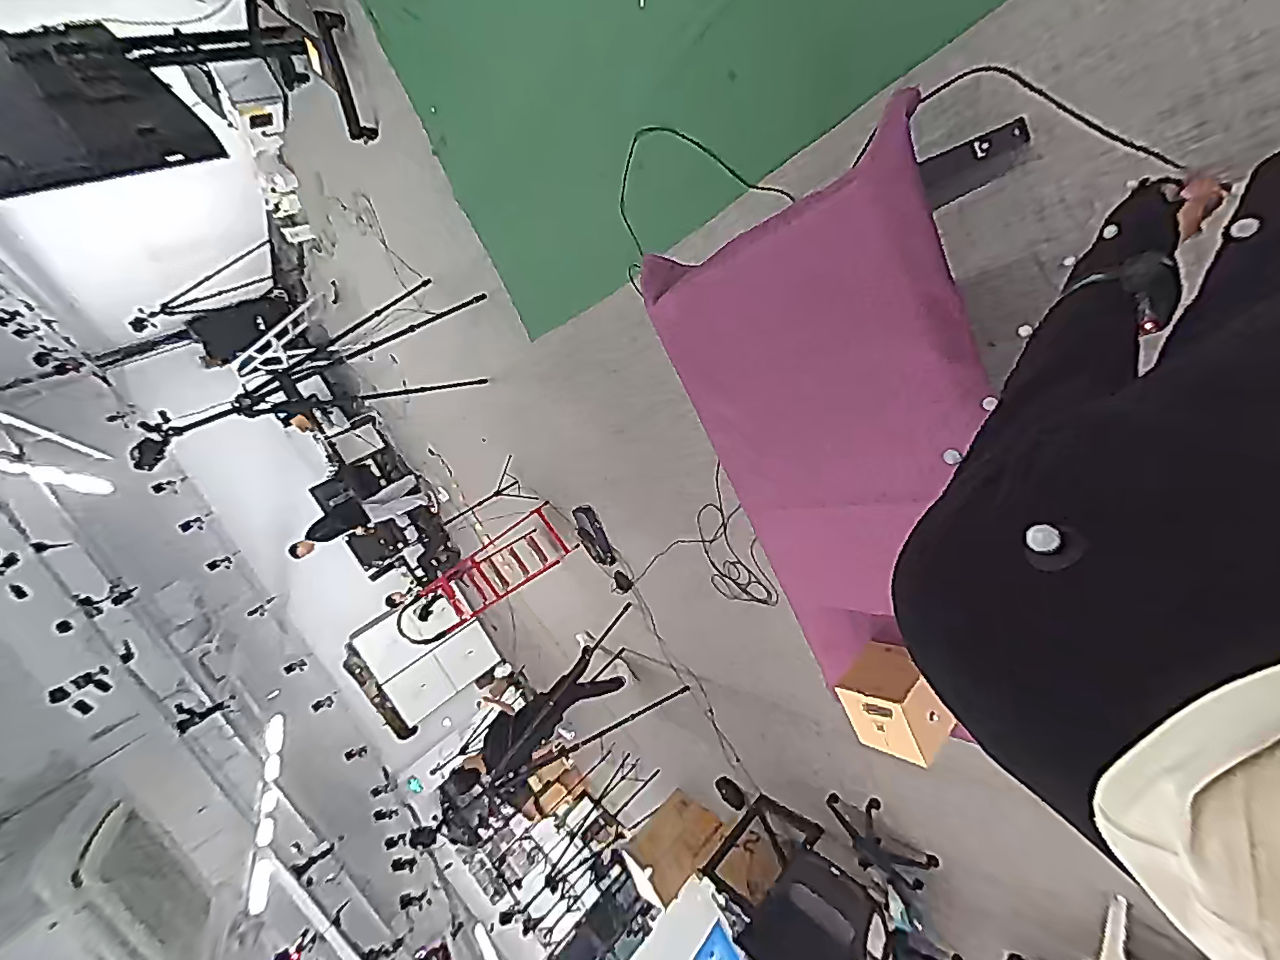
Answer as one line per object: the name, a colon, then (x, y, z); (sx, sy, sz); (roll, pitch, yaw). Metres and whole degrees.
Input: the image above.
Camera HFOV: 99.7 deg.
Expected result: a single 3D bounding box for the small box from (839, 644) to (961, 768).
small box: (0.593, 0.501, 1.231); (0.168, 0.176, 0.179); (-8, 114, 57)
